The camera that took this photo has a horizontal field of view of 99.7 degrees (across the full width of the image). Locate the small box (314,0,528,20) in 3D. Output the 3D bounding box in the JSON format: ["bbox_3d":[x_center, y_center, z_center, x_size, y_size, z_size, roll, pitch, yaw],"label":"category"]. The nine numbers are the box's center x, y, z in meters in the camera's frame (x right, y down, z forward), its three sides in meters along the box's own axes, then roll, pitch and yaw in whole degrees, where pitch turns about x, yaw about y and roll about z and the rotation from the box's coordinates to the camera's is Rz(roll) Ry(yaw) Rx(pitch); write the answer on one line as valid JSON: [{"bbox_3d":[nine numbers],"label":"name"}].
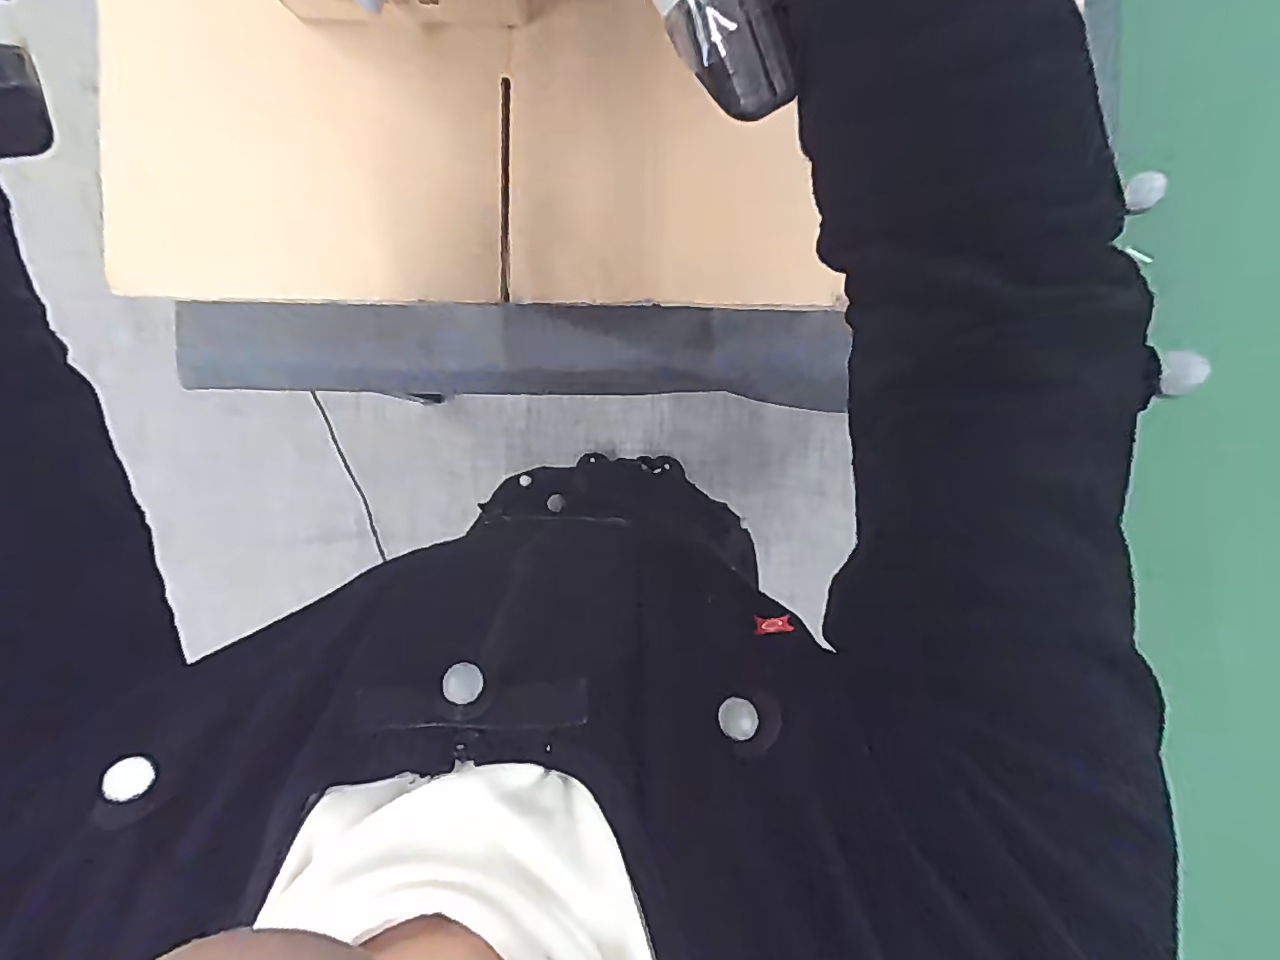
[{"bbox_3d":[-0.157,-0.409,0.296,0.168,0.176,0.179,1,95,2],"label":"small box"}]
